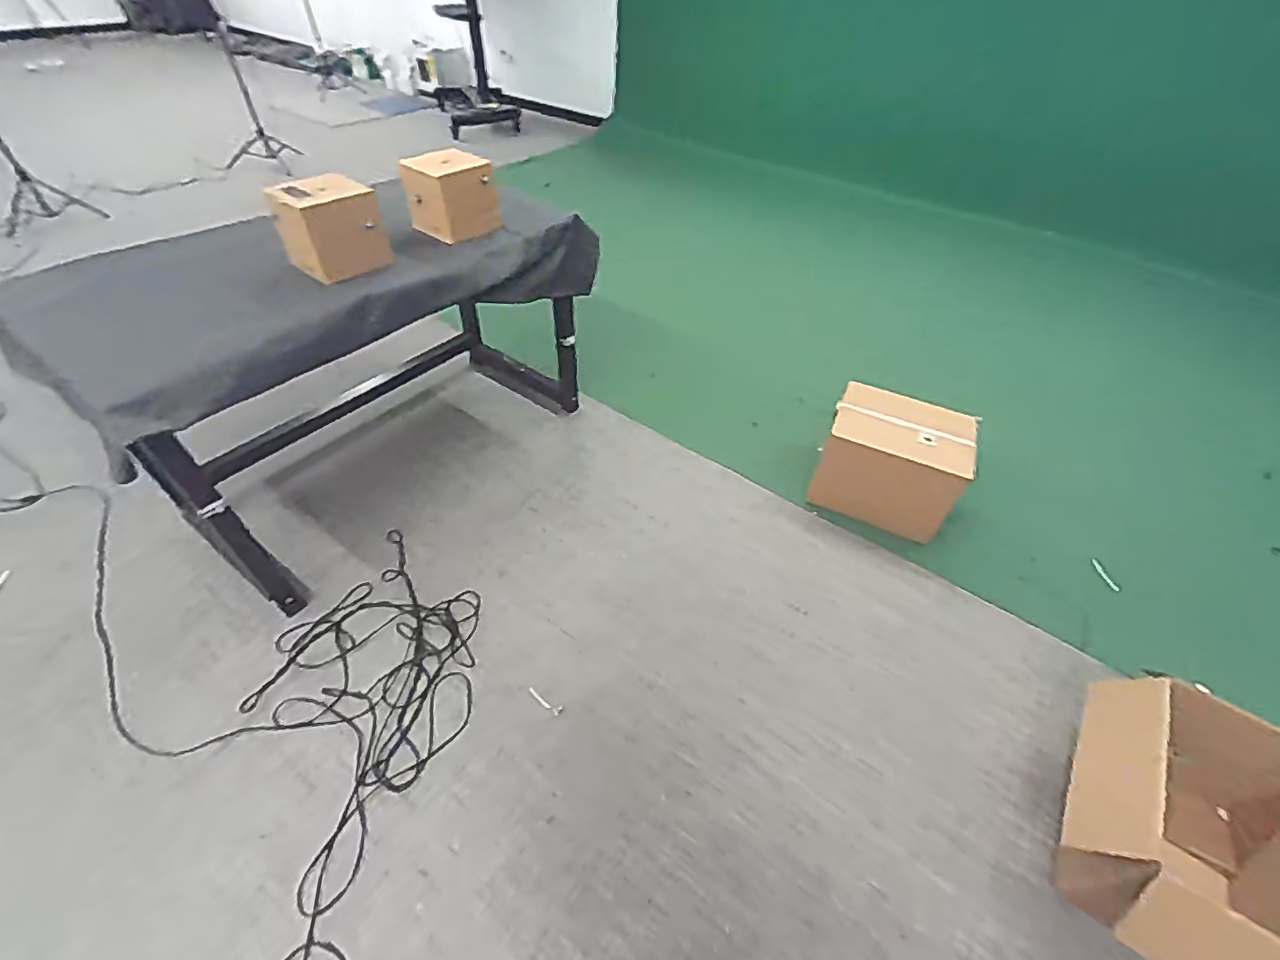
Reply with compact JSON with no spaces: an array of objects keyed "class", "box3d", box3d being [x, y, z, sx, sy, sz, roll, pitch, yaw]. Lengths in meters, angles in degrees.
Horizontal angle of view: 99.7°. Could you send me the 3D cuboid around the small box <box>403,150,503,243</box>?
[{"class":"small box","box3d":[-0.487,-0.750,1.433,0.168,0.176,0.179,31,52,25]}]
